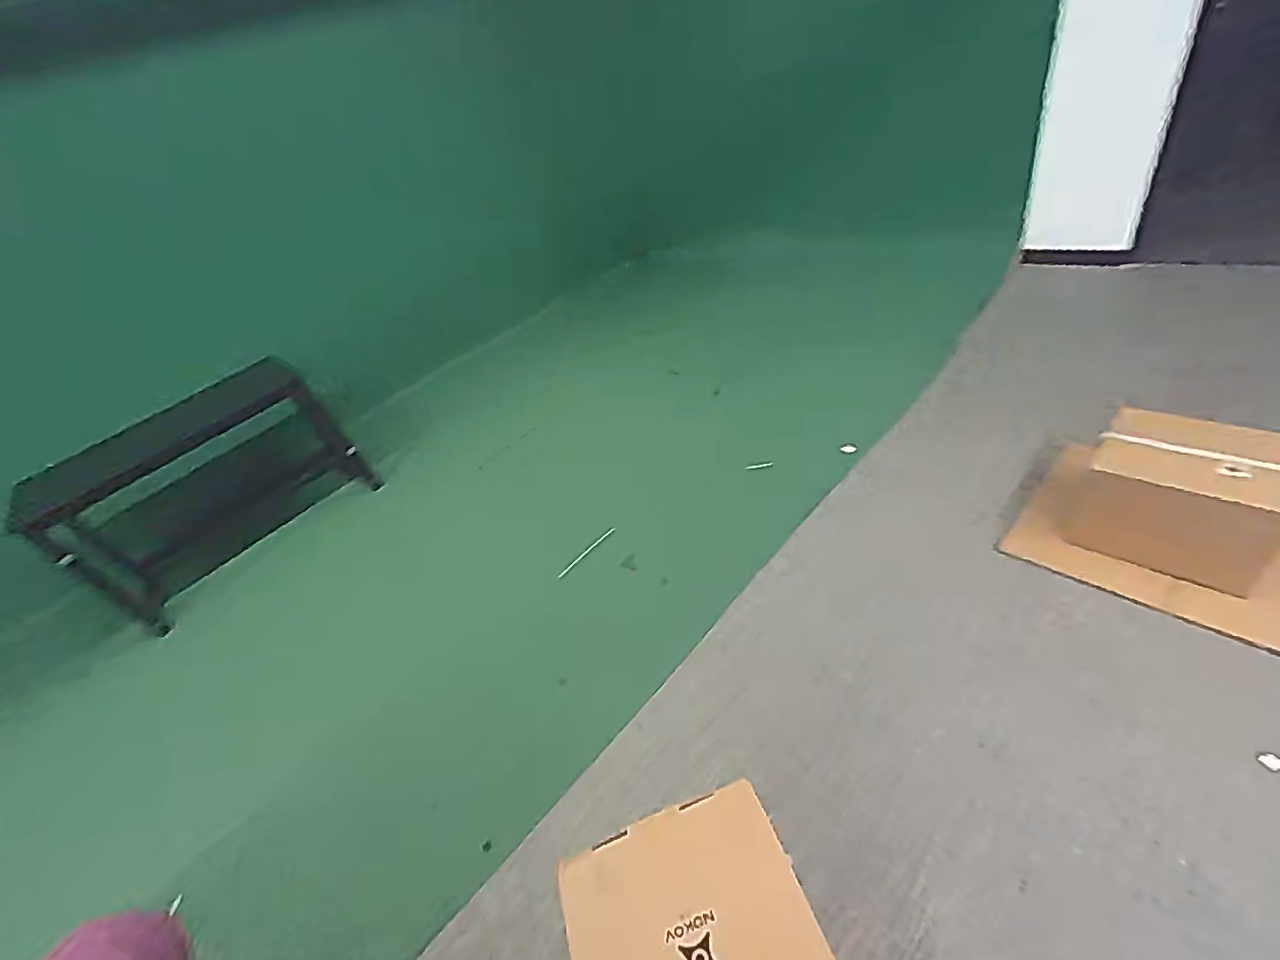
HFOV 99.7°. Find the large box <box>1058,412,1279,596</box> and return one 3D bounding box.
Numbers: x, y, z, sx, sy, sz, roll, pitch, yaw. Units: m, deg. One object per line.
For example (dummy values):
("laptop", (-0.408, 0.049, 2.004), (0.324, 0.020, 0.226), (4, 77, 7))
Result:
("large box", (1.495, 0.054, 1.525), (0.408, 0.320, 0.320), (24, 56, 40))
